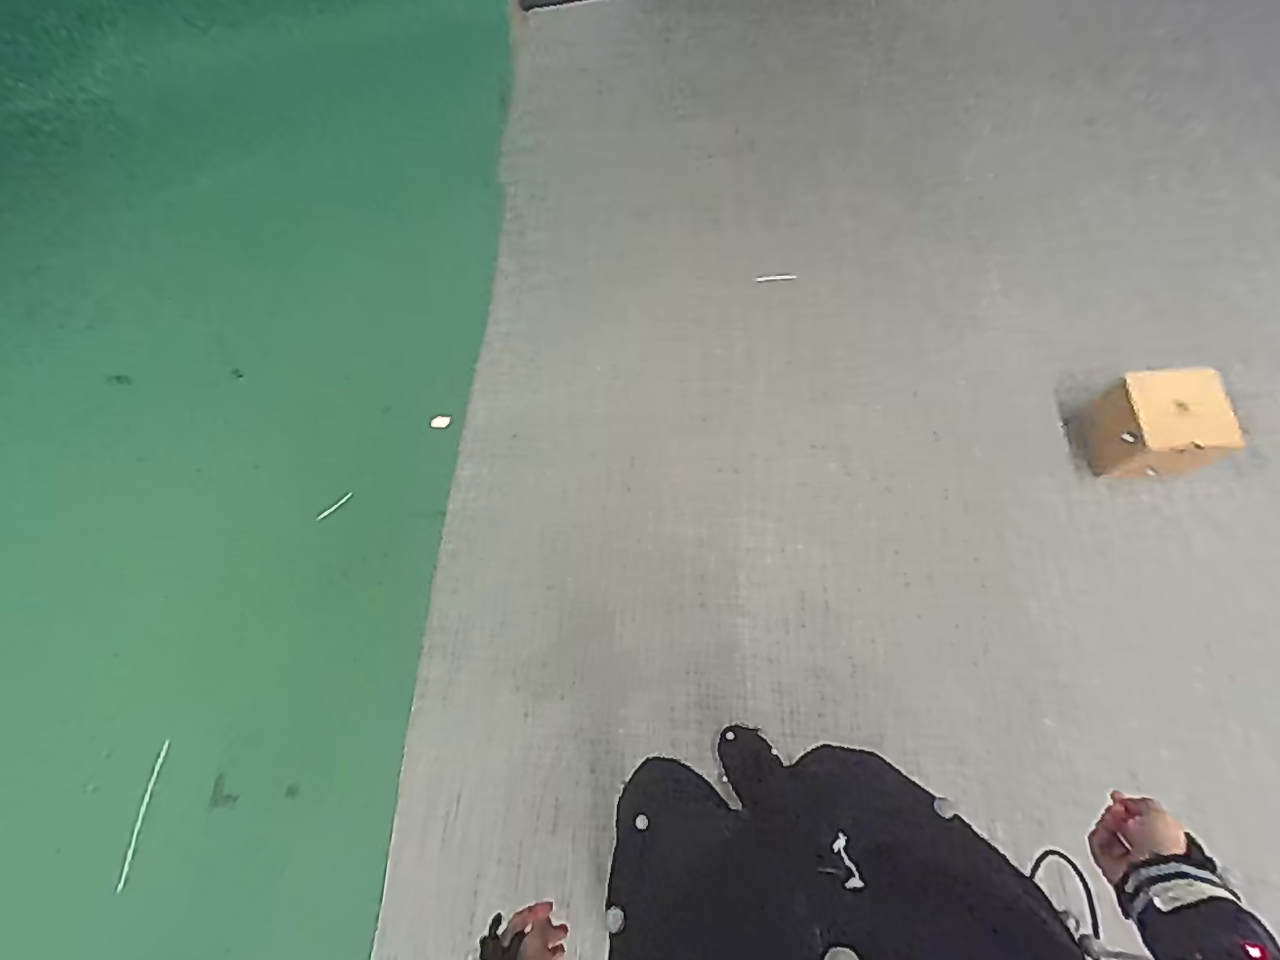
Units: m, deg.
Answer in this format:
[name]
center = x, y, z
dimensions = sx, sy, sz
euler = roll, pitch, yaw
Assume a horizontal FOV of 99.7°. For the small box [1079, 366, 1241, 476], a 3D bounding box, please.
[small box]
center = 1.084, -0.120, 1.149
dimensions = 0.168, 0.176, 0.179
euler = -2, 70, 9
